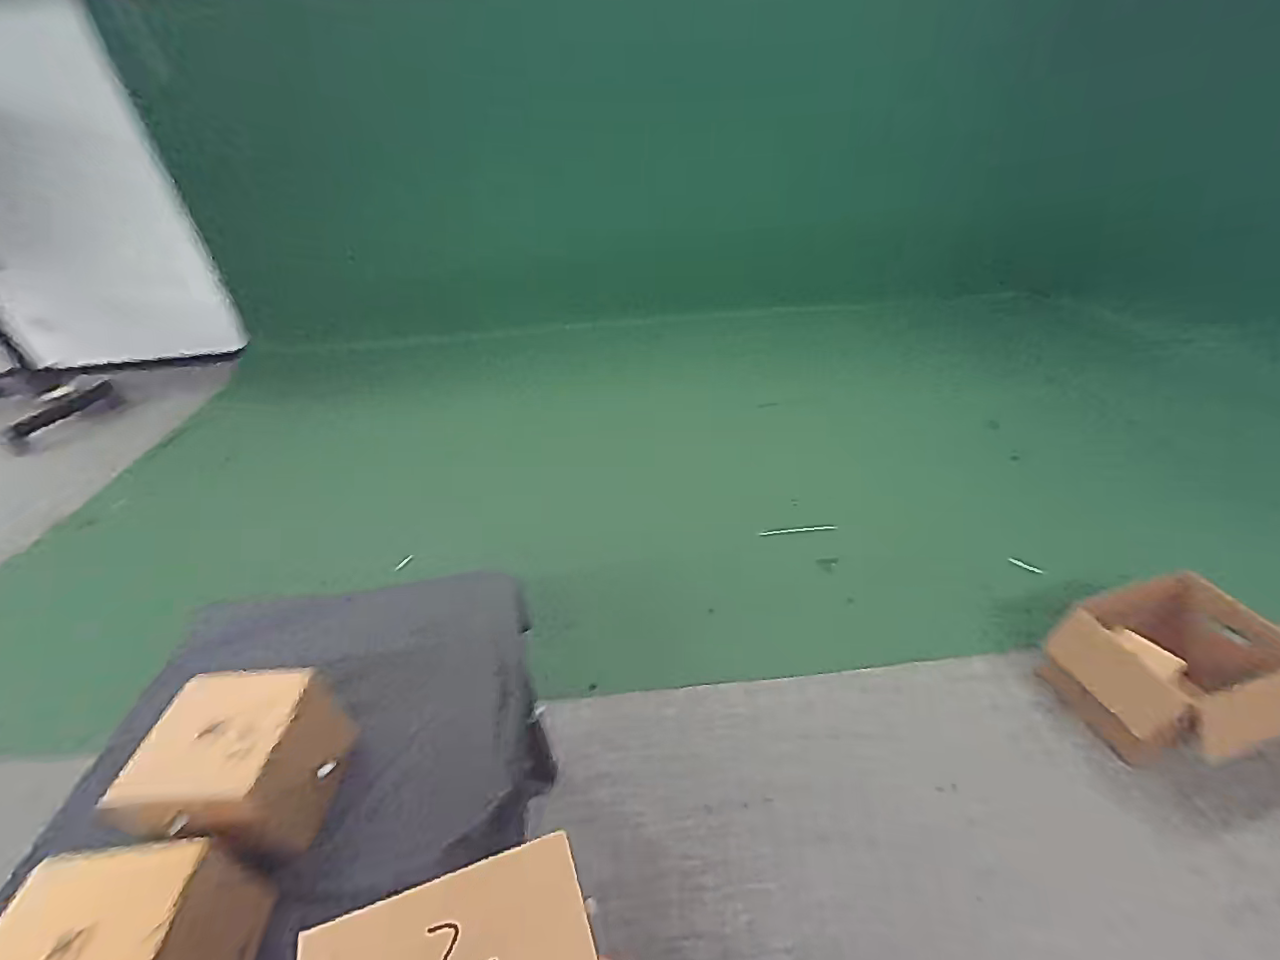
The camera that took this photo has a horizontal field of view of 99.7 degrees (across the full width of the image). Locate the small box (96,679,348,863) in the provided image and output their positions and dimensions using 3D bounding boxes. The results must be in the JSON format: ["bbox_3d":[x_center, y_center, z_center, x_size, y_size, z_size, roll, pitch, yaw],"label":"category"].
[{"bbox_3d":[-0.538,0.392,0.729,0.179,0.176,0.168,-3,37,1],"label":"small box"}]
